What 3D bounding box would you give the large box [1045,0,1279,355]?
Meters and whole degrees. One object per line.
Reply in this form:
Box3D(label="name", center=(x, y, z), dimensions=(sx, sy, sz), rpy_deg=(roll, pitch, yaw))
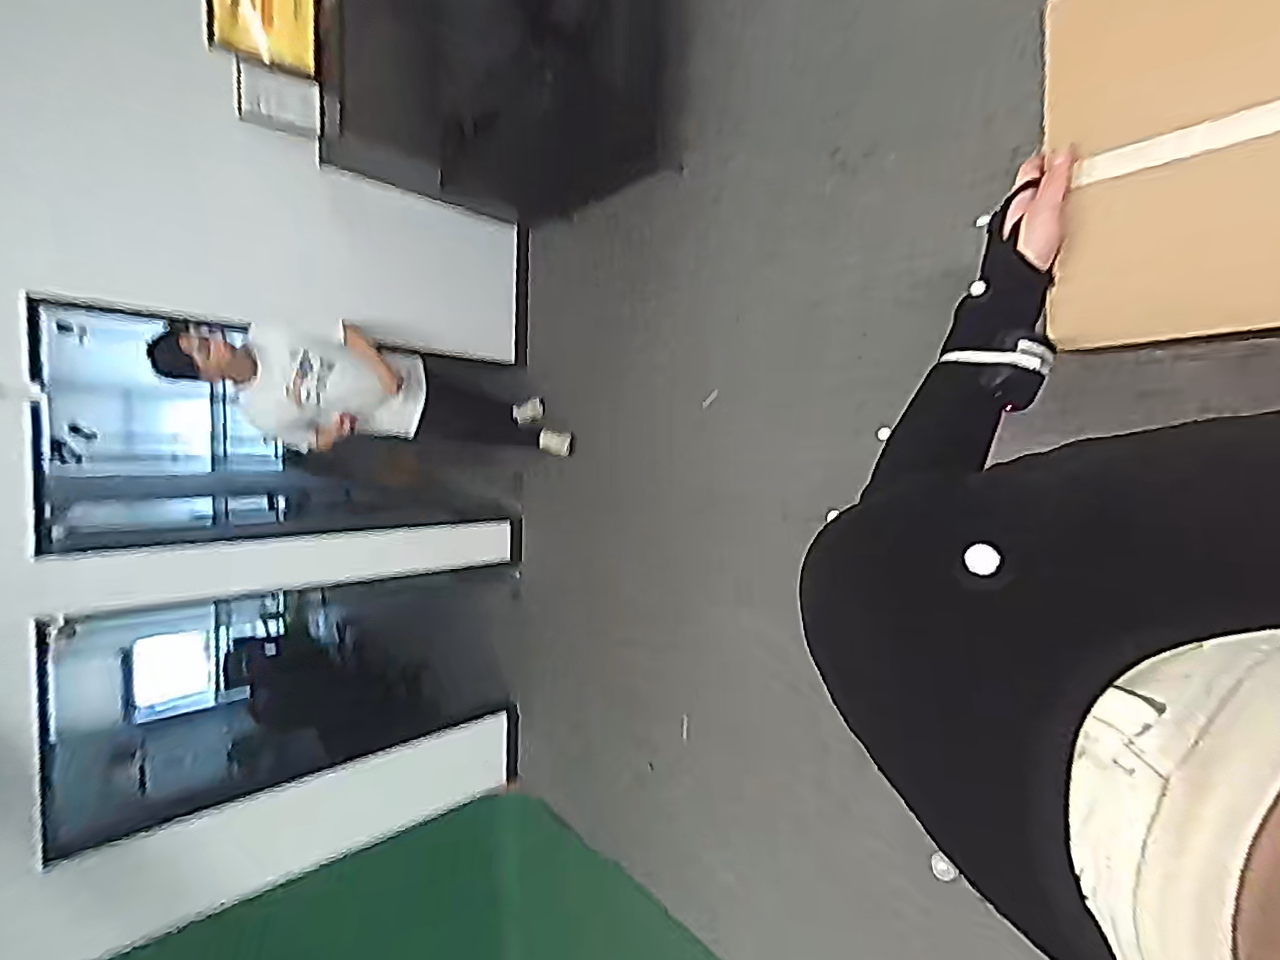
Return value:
Box3D(label="large box", center=(0.633, -0.303, 0.486), dimensions=(0.408, 0.320, 0.320), rpy_deg=(0, 99, 43))
